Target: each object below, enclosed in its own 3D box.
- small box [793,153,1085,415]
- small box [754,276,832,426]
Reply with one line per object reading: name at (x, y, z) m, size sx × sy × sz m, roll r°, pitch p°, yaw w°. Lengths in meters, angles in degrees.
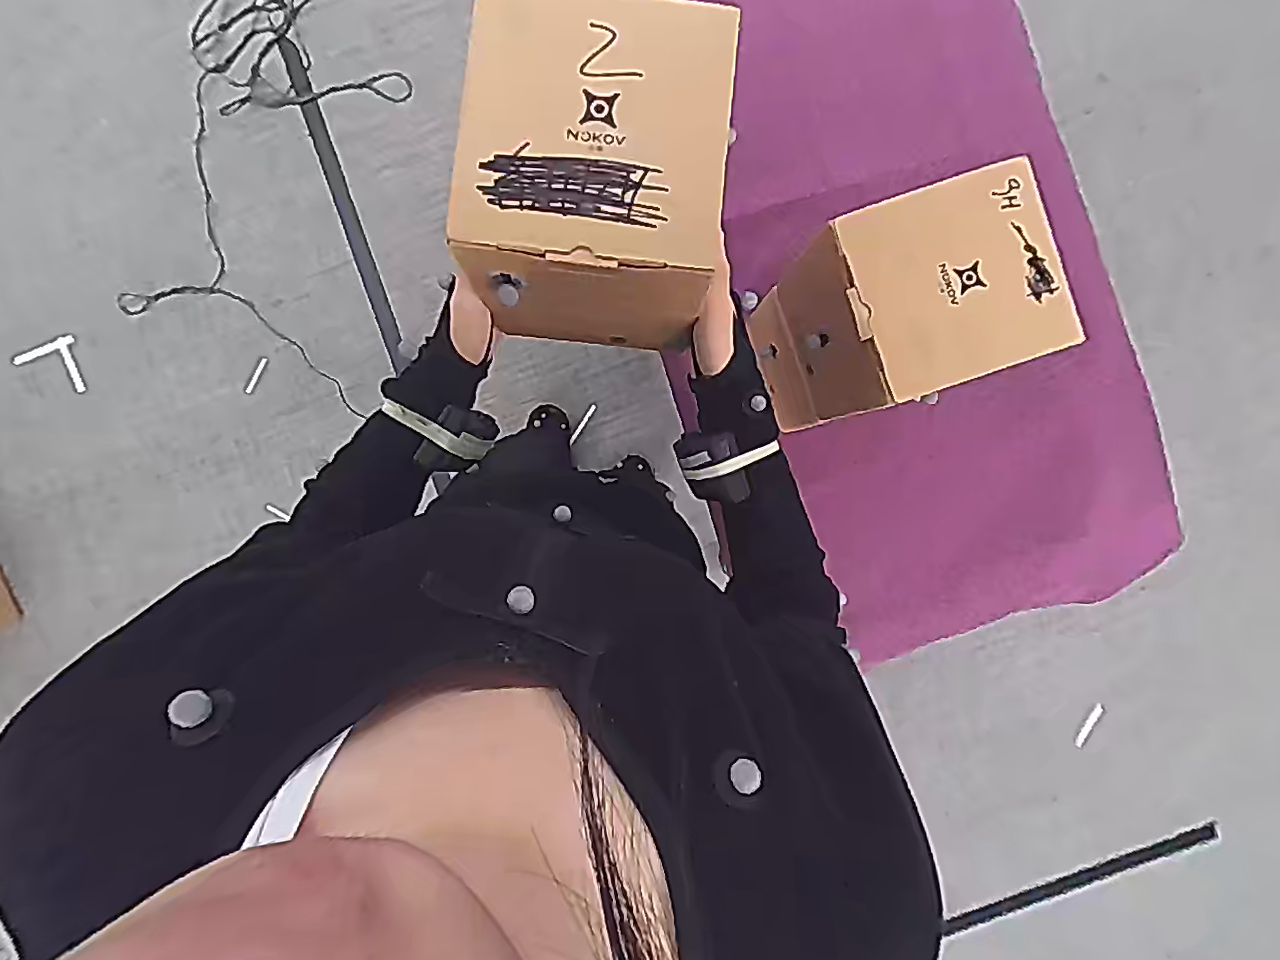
small box at (0.266, -0.170, 0.530) m, size 0.179 × 0.176 × 0.168 m, roll -19°, pitch 92°, yaw 0°
small box at (0.258, -0.175, 0.694) m, size 0.179 × 0.176 × 0.168 m, roll -19°, pitch 92°, yaw -1°
